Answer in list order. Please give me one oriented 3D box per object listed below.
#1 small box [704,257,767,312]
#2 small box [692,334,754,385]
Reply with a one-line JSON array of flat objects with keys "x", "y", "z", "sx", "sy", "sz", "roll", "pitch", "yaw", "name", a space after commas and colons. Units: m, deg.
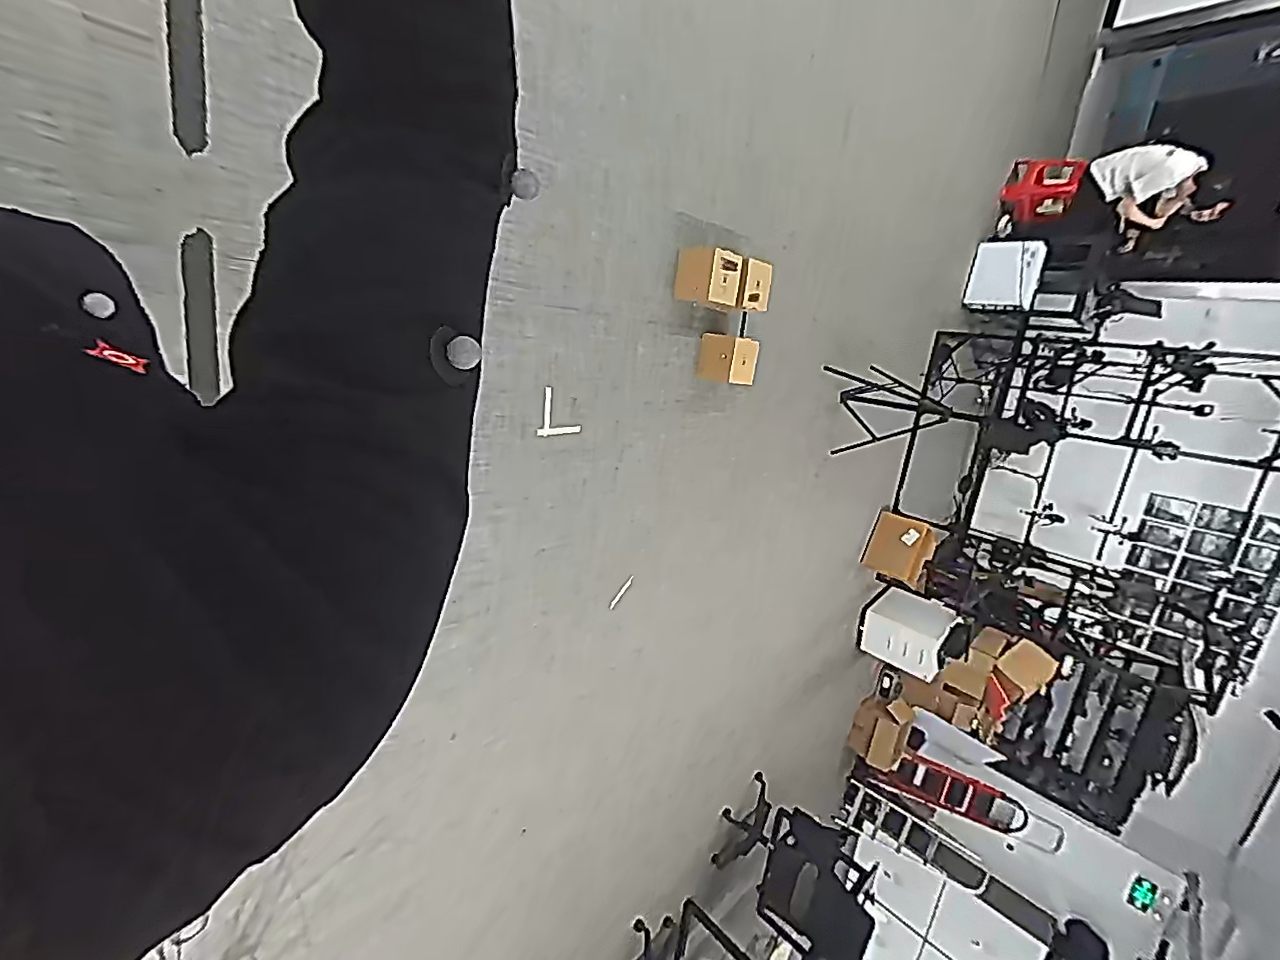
[{"x": 0.368, "y": -0.762, "z": 2.115, "sx": 0.168, "sy": 0.176, "sz": 0.179, "roll": -7, "pitch": 109, "yaw": -45, "name": "small box"}, {"x": 0.330, "y": -0.488, "z": 2.184, "sx": 0.168, "sy": 0.176, "sz": 0.179, "roll": -5, "pitch": 108, "yaw": -45, "name": "small box"}]
